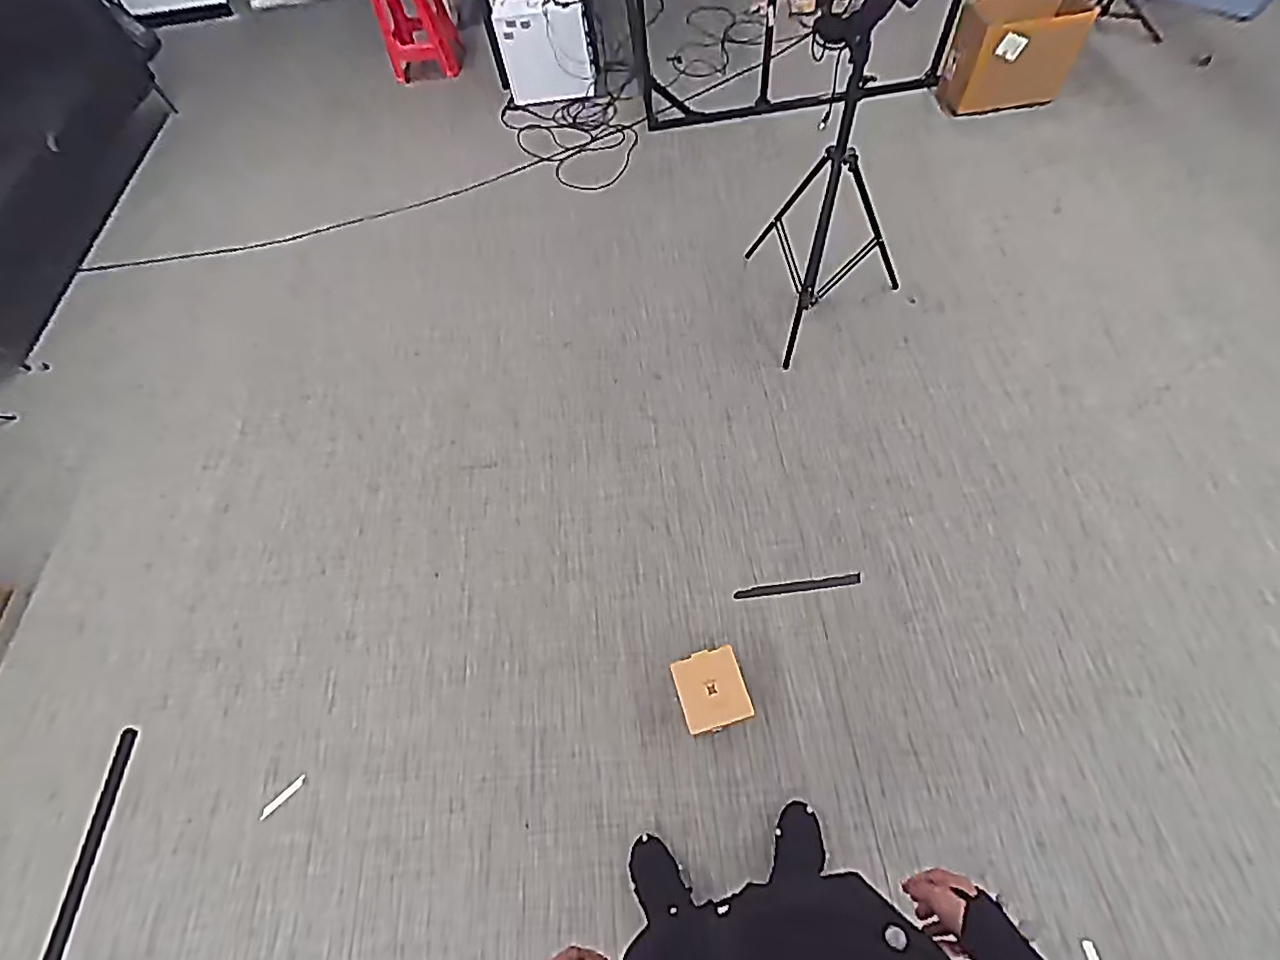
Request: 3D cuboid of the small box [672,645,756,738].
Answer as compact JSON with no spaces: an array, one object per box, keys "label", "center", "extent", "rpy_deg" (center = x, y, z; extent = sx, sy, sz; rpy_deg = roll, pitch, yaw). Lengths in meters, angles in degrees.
[{"label":"small box","center":[0.187,0.549,1.394],"extent":[0.168,0.176,0.179],"rpy_deg":[-17,61,-2]}]
